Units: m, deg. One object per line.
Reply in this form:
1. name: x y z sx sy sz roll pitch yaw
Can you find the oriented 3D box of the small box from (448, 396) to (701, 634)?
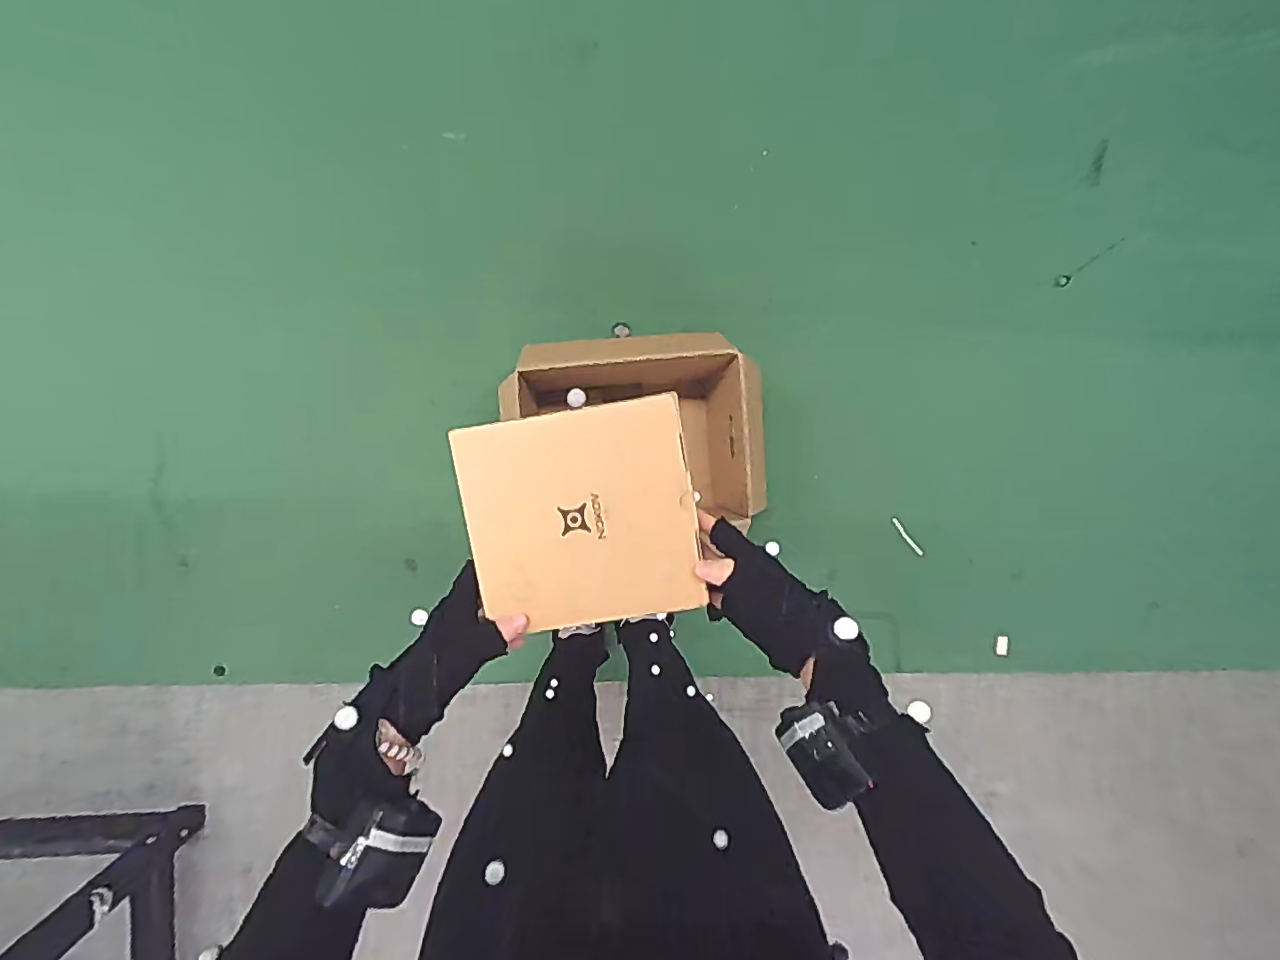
1. small box: -0.047 0.022 0.493 0.179 0.176 0.168 -9 96 2
